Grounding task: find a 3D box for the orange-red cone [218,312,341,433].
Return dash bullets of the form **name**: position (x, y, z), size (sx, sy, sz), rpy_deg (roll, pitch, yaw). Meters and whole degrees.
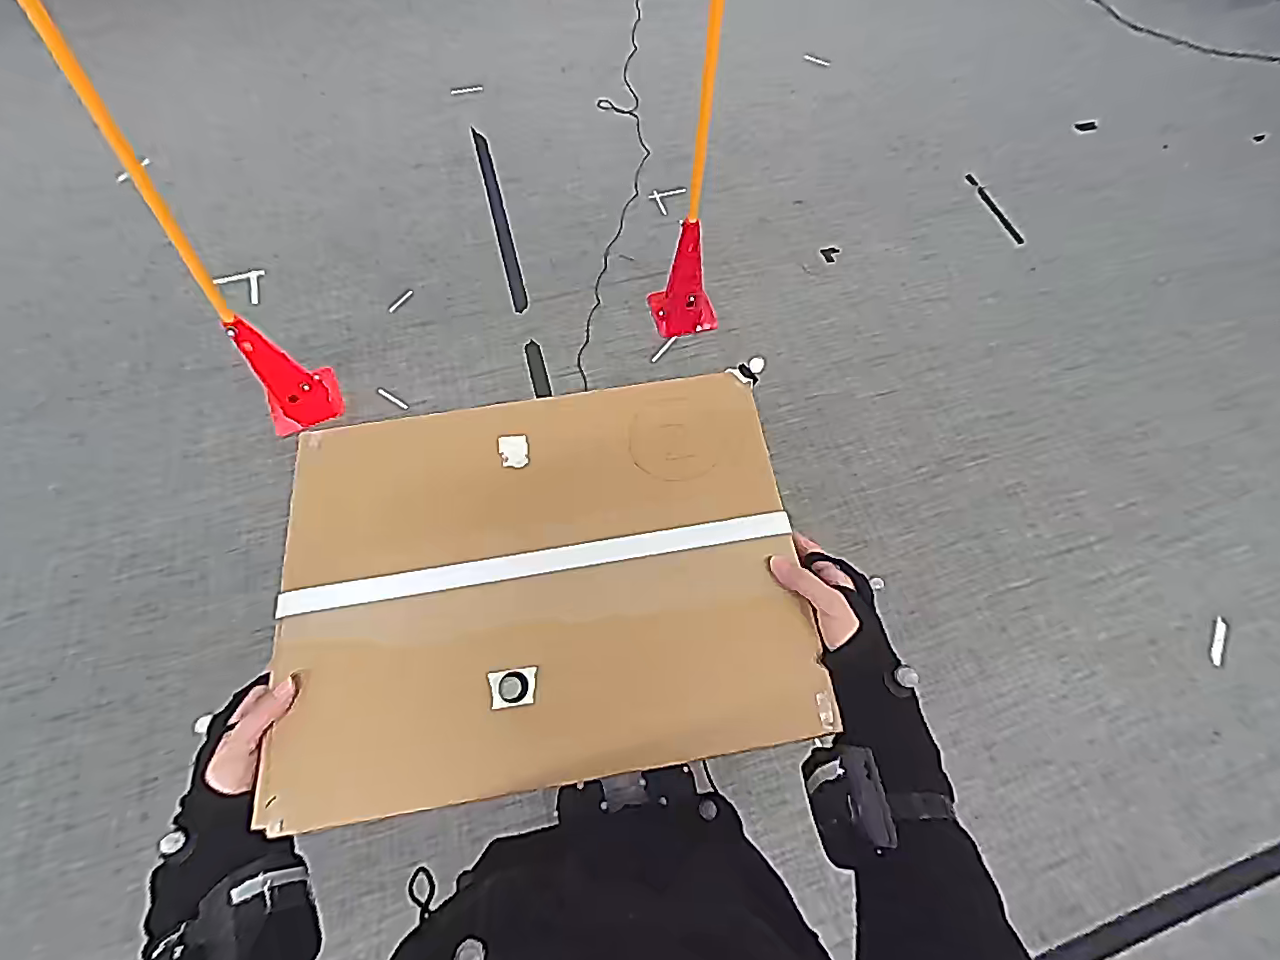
- **orange-red cone**: position (-1.007, -0.317, 1.467), size (0.199, 0.360, 0.198), rpy_deg (-23, 66, -11)
